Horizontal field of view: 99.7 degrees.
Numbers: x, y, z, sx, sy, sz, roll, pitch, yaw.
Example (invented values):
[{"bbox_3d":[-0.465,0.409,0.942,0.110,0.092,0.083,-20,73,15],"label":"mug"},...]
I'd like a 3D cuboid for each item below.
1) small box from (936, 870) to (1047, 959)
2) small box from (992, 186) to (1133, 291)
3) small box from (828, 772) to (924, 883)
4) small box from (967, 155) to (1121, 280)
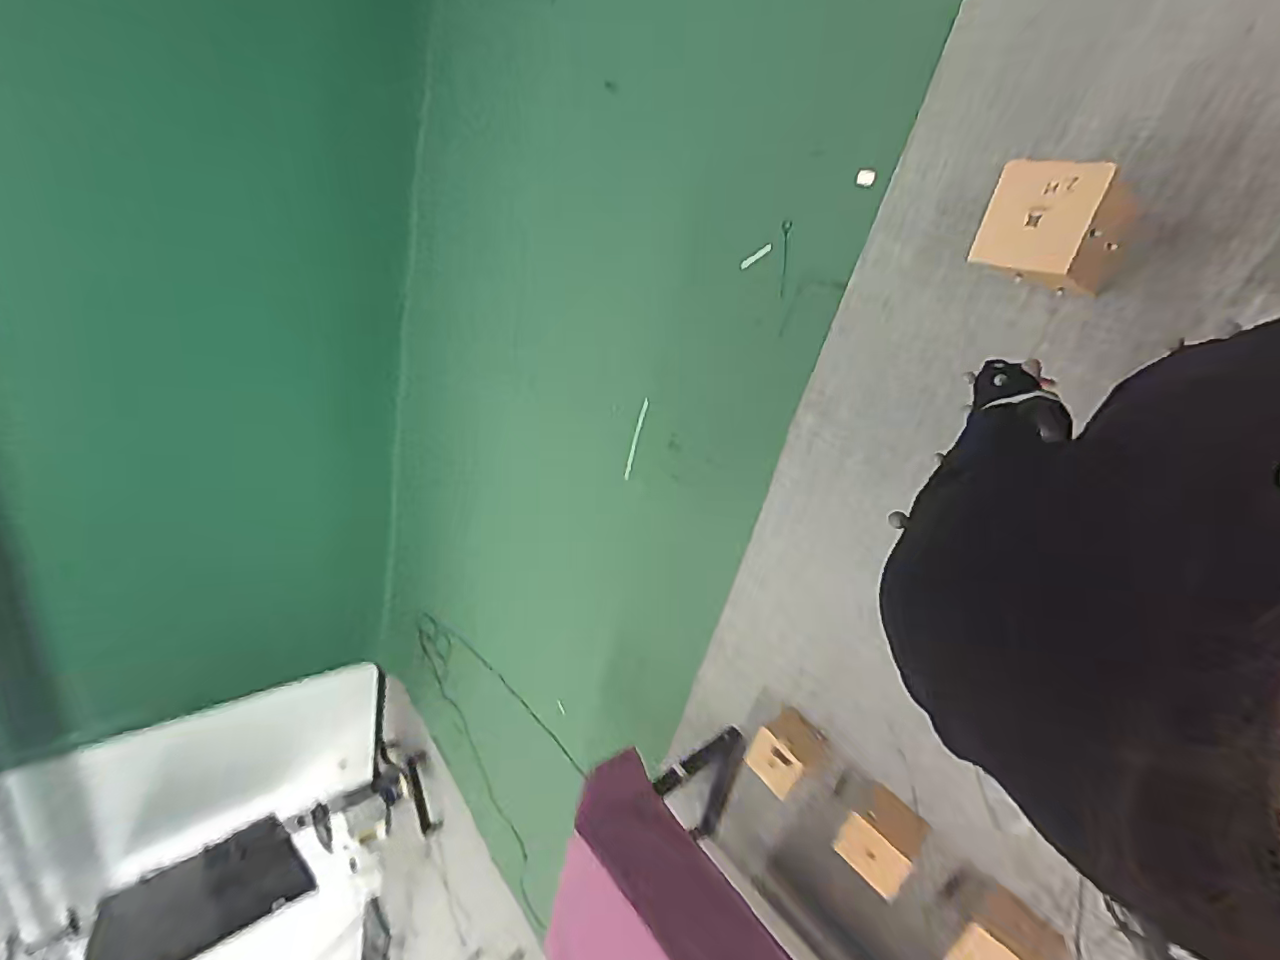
[{"bbox_3d":[0.896,1.150,1.373,0.168,0.176,0.179,36,120,37],"label":"small box"},{"bbox_3d":[0.880,-0.504,1.123,0.168,0.176,0.179,35,120,38],"label":"small box"},{"bbox_3d":[0.689,1.002,1.575,0.179,0.176,0.168,34,120,39],"label":"small box"},{"bbox_3d":[0.758,-0.485,1.014,0.168,0.176,0.179,33,119,38],"label":"small box"}]
